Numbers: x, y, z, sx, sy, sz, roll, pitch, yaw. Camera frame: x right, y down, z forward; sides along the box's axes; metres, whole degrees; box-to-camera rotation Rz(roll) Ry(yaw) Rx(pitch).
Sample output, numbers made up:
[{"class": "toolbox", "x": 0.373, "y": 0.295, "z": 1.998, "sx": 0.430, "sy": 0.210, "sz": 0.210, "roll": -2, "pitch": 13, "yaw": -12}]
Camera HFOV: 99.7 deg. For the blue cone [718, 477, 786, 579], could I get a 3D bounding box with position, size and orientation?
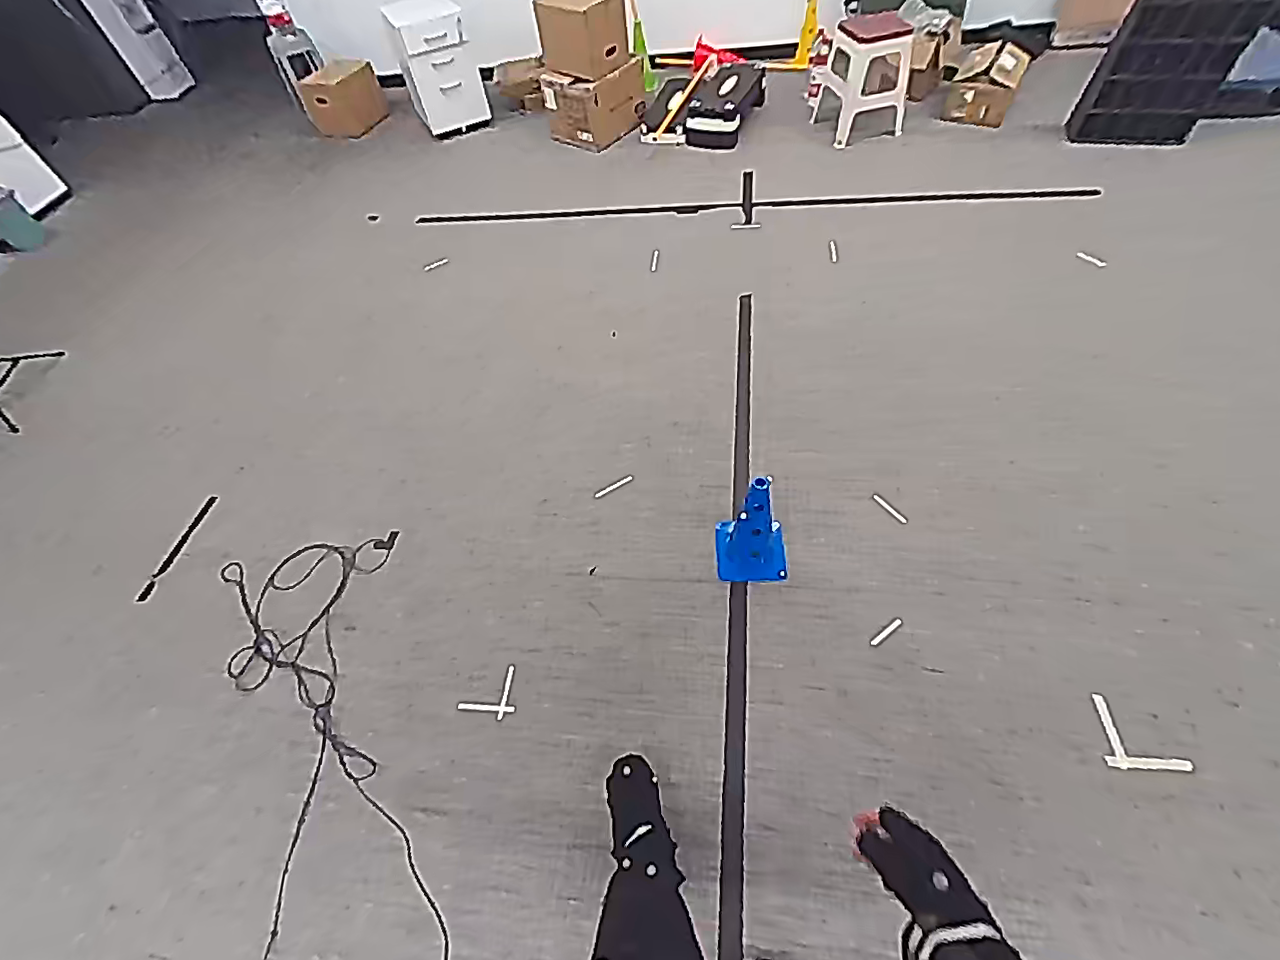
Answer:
[{"class": "blue cone", "x": 0.317, "y": 0.113, "z": 1.472, "sx": 0.192, "sy": 0.380, "sz": 0.193, "roll": 0, "pitch": 55, "yaw": 5}]
